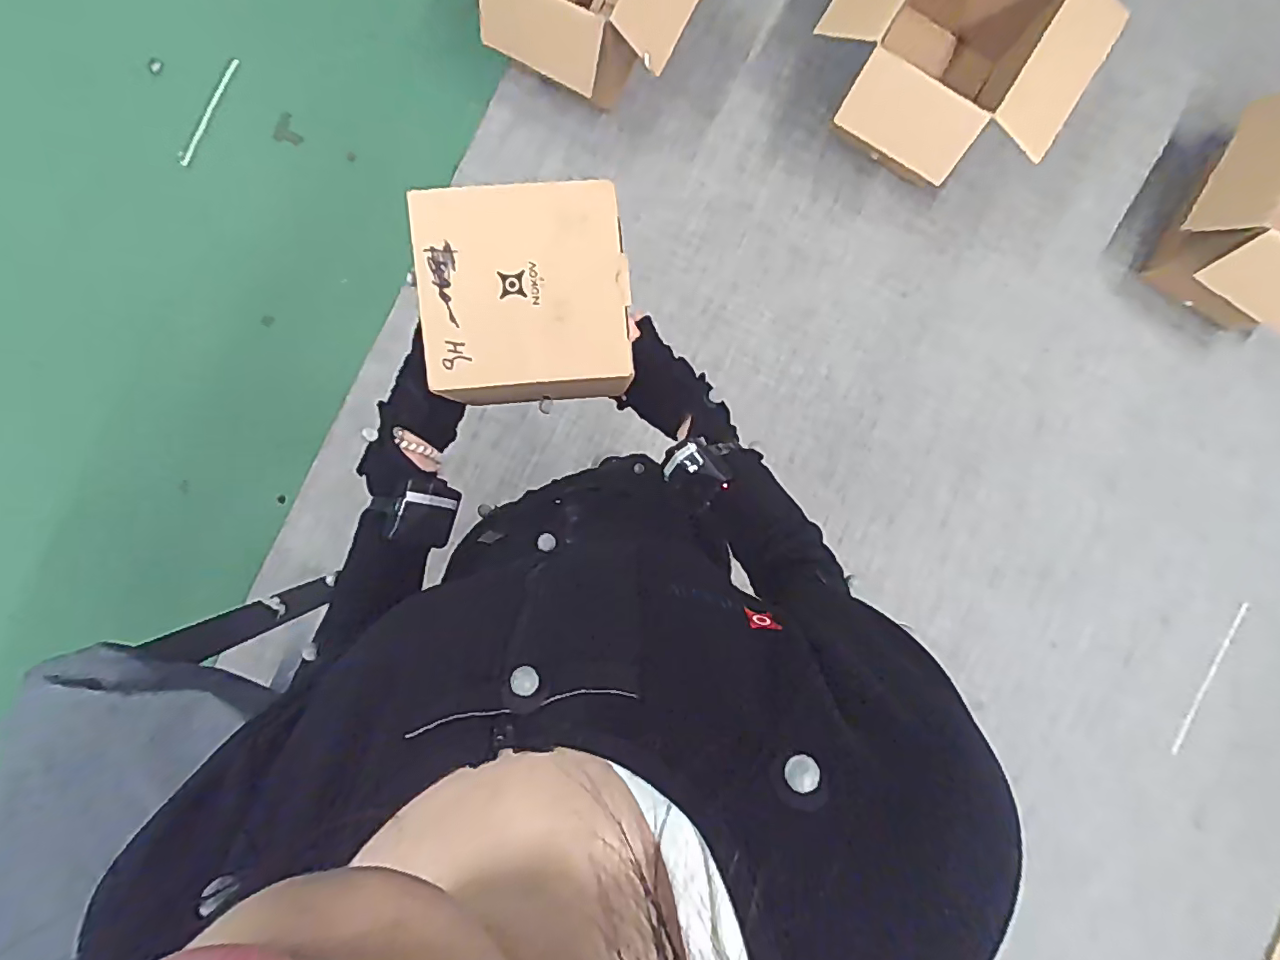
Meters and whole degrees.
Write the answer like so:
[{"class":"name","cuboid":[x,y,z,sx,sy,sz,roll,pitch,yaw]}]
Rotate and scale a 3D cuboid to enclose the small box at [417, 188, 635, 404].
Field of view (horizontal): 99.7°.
[{"class":"small box","cuboid":[-0.104,-0.169,0.541,0.179,0.176,0.168,-4,93,-5]}]
